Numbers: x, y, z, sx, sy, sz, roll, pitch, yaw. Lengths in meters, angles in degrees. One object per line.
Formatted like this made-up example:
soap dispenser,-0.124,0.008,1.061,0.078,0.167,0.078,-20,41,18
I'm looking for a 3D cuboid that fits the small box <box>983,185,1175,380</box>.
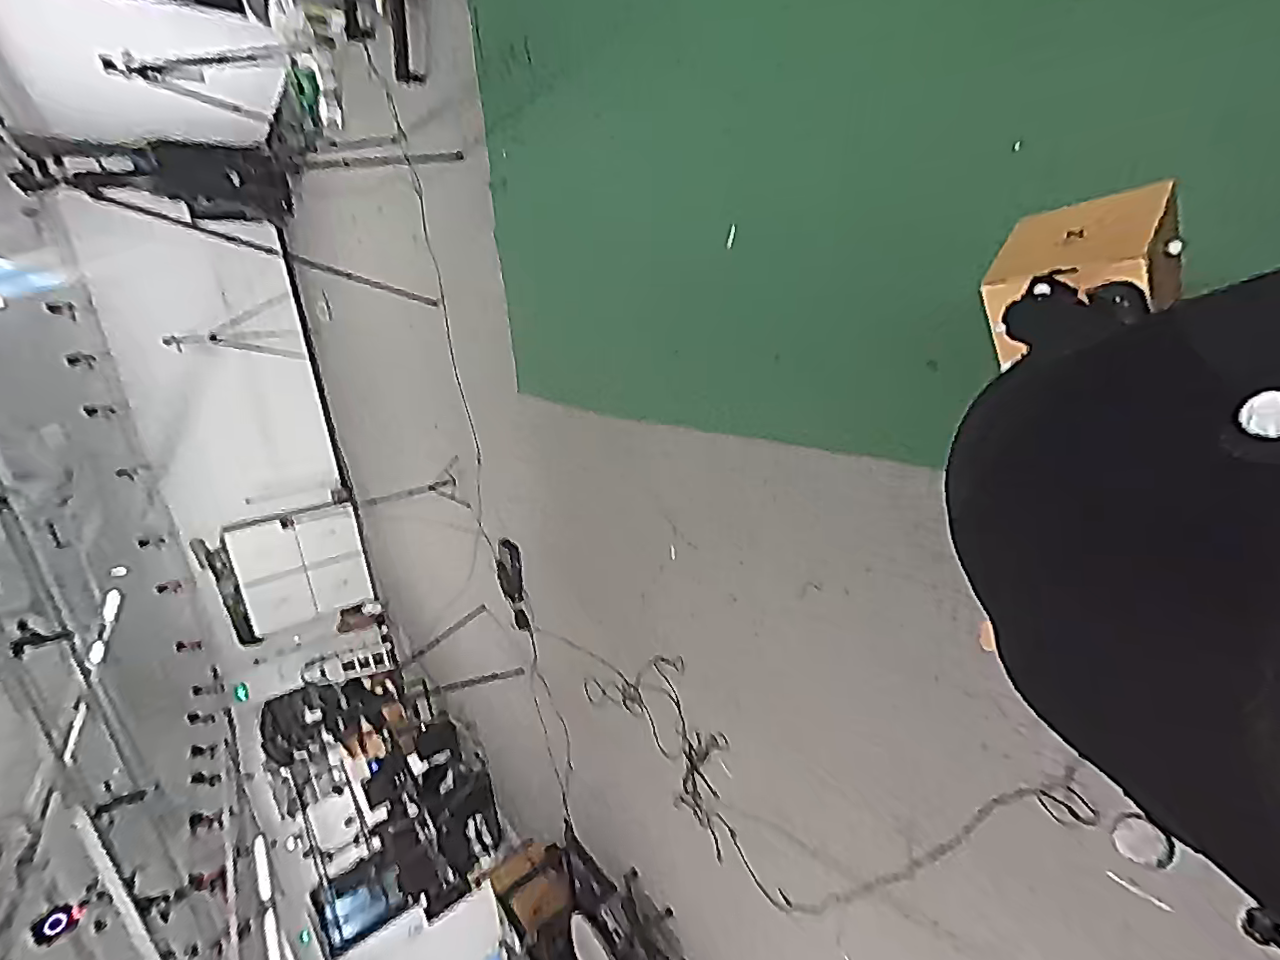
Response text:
small box,0.603,-0.258,0.739,0.168,0.179,0.176,6,140,52
